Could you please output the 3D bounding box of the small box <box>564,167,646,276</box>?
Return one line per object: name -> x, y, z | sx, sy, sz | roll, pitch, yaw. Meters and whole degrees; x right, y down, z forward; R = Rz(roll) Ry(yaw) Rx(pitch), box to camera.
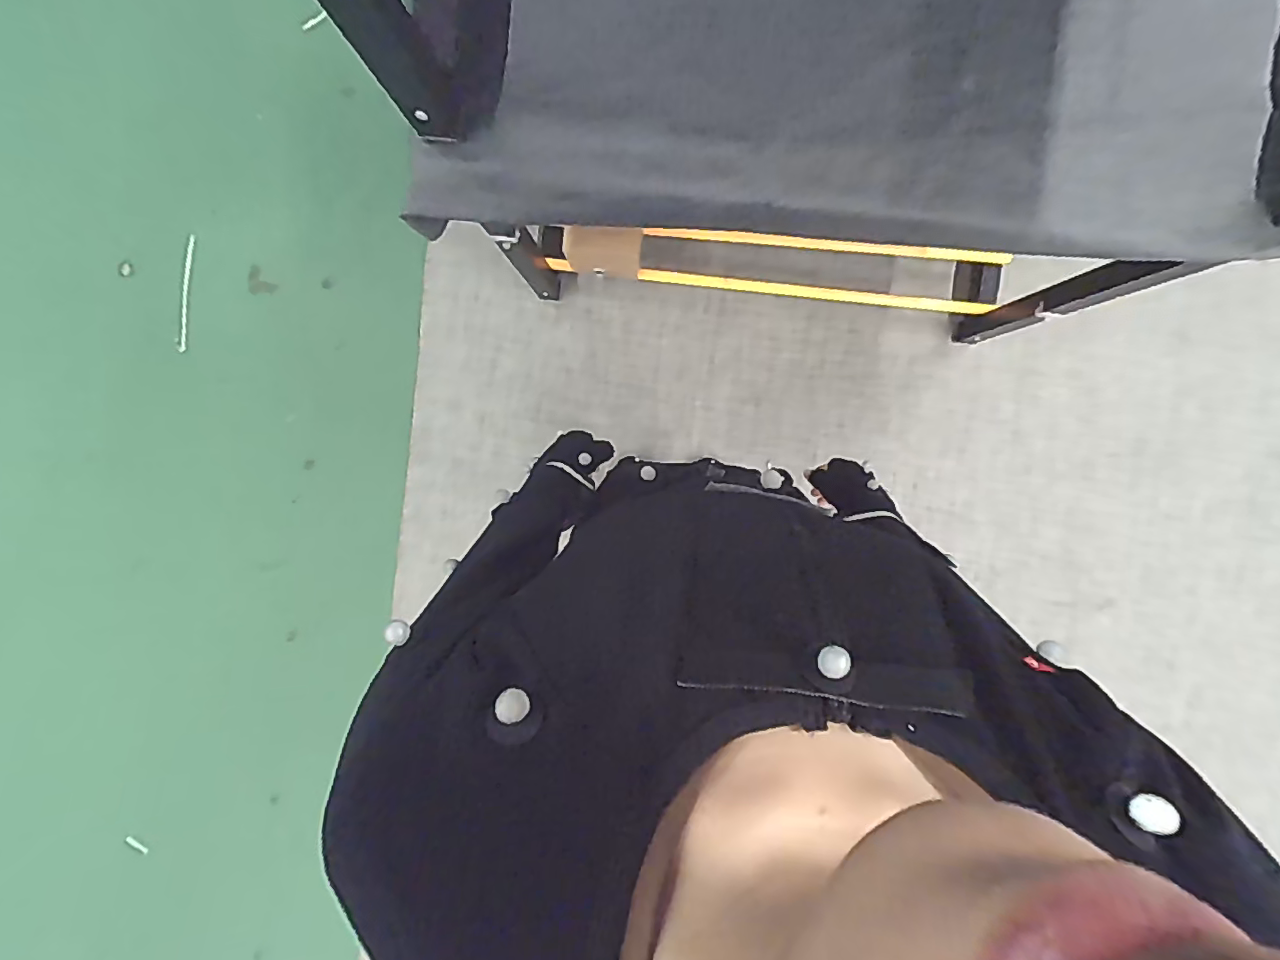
small box -> -0.076, -0.595, 1.262 | 0.168, 0.176, 0.179 | 6, 96, 1
